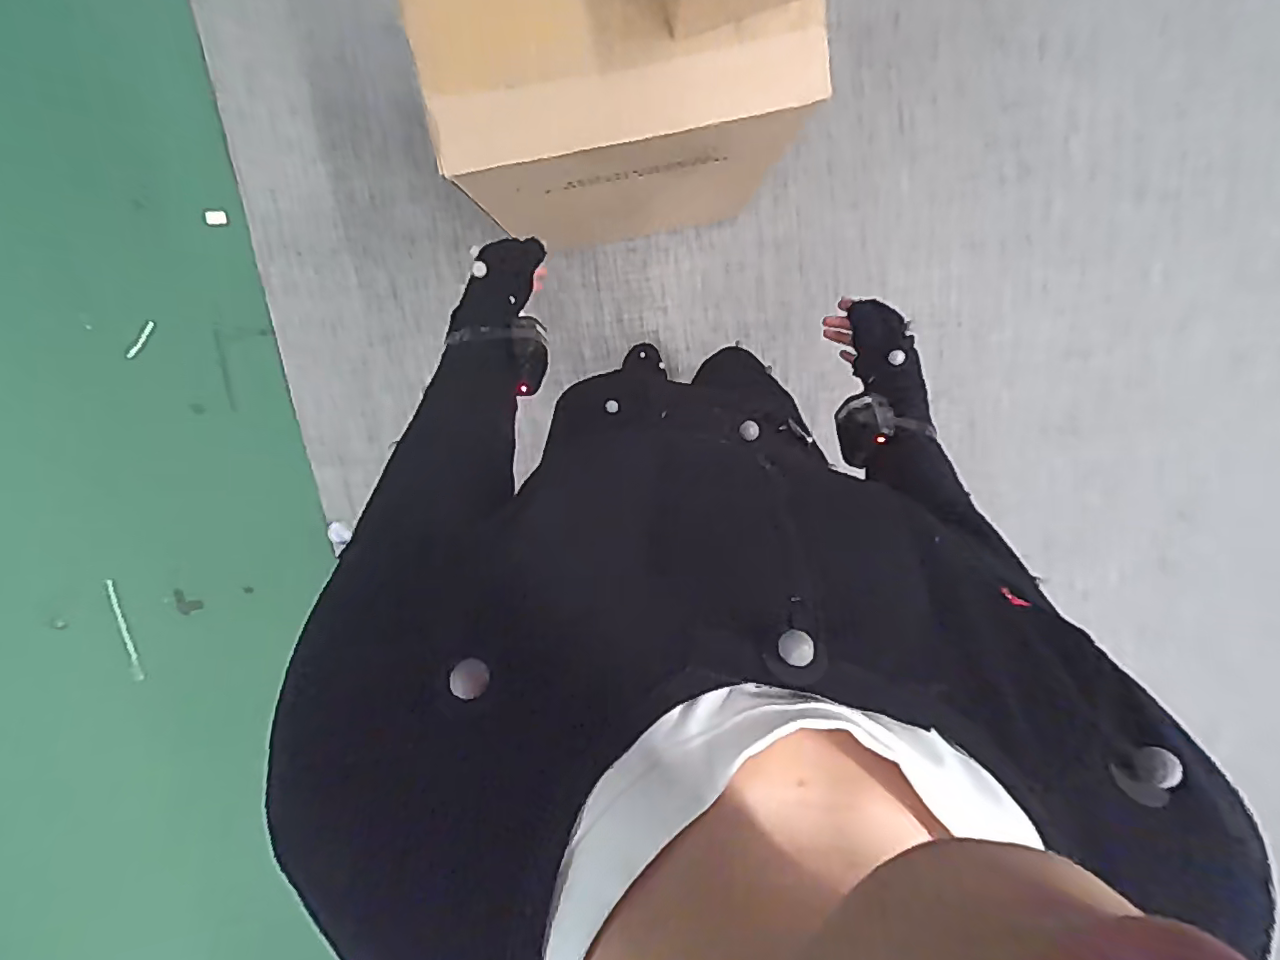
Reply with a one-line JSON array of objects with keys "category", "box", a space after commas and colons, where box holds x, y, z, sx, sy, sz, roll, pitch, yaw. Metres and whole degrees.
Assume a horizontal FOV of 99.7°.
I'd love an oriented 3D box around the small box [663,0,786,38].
[{"category": "small box", "box": [0.103, -0.632, 0.583, 0.179, 0.176, 0.168, -17, 105, 5]}]
